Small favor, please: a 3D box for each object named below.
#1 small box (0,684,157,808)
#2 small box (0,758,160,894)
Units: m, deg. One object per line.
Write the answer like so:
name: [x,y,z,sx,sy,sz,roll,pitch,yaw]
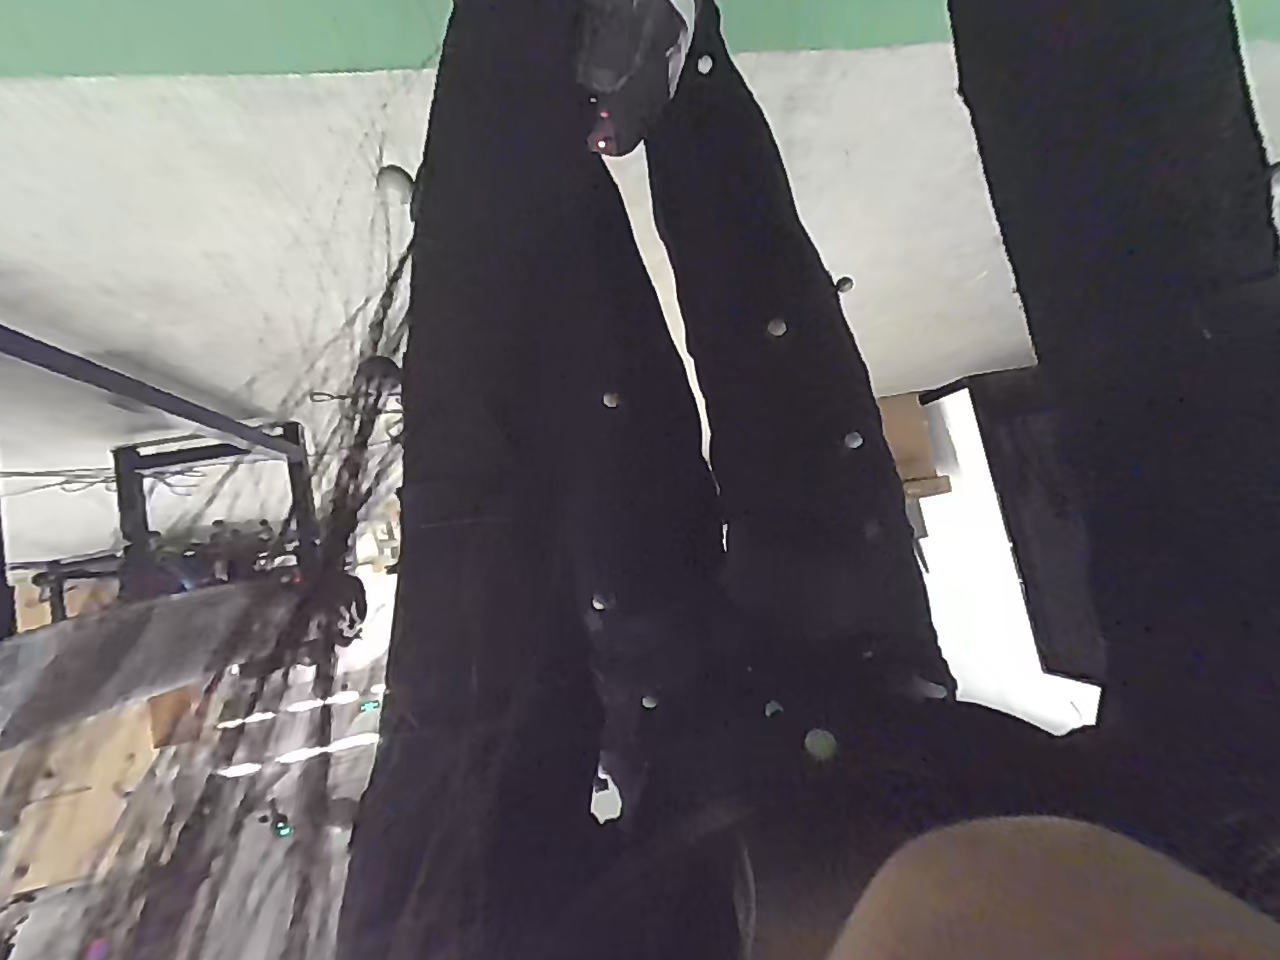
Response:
small box: [-1.178,0.543,1.134,0.179,0.176,0.168,-10,174,-9]
small box: [-1.162,0.707,1.129,0.179,0.176,0.168,-11,175,-7]
